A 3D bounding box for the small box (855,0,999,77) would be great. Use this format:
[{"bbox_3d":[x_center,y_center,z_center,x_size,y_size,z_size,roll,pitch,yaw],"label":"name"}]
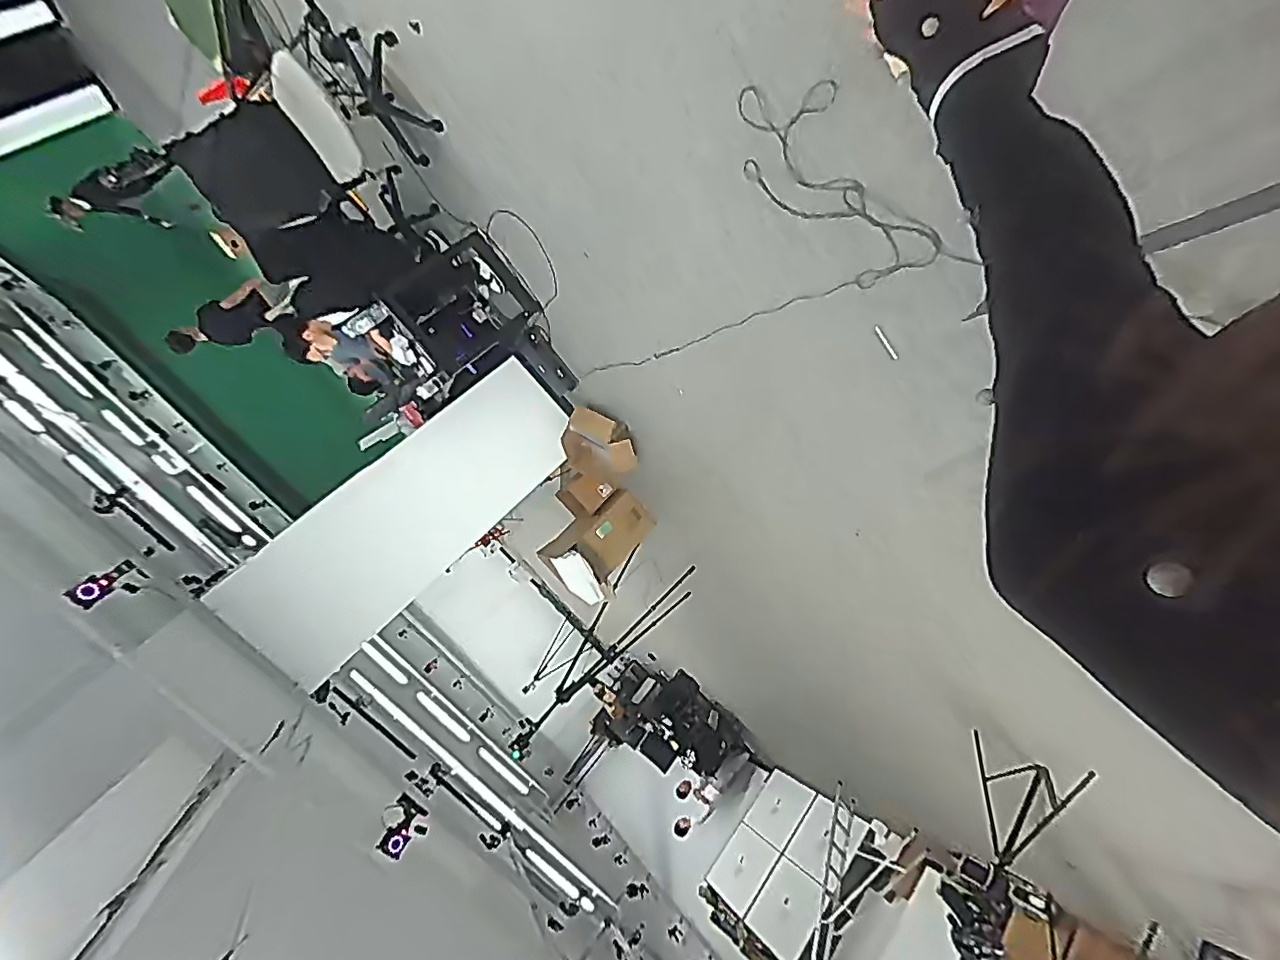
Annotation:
[{"bbox_3d":[0.314,-0.542,0.507,0.168,0.176,0.179,51,156,-16],"label":"small box"}]
